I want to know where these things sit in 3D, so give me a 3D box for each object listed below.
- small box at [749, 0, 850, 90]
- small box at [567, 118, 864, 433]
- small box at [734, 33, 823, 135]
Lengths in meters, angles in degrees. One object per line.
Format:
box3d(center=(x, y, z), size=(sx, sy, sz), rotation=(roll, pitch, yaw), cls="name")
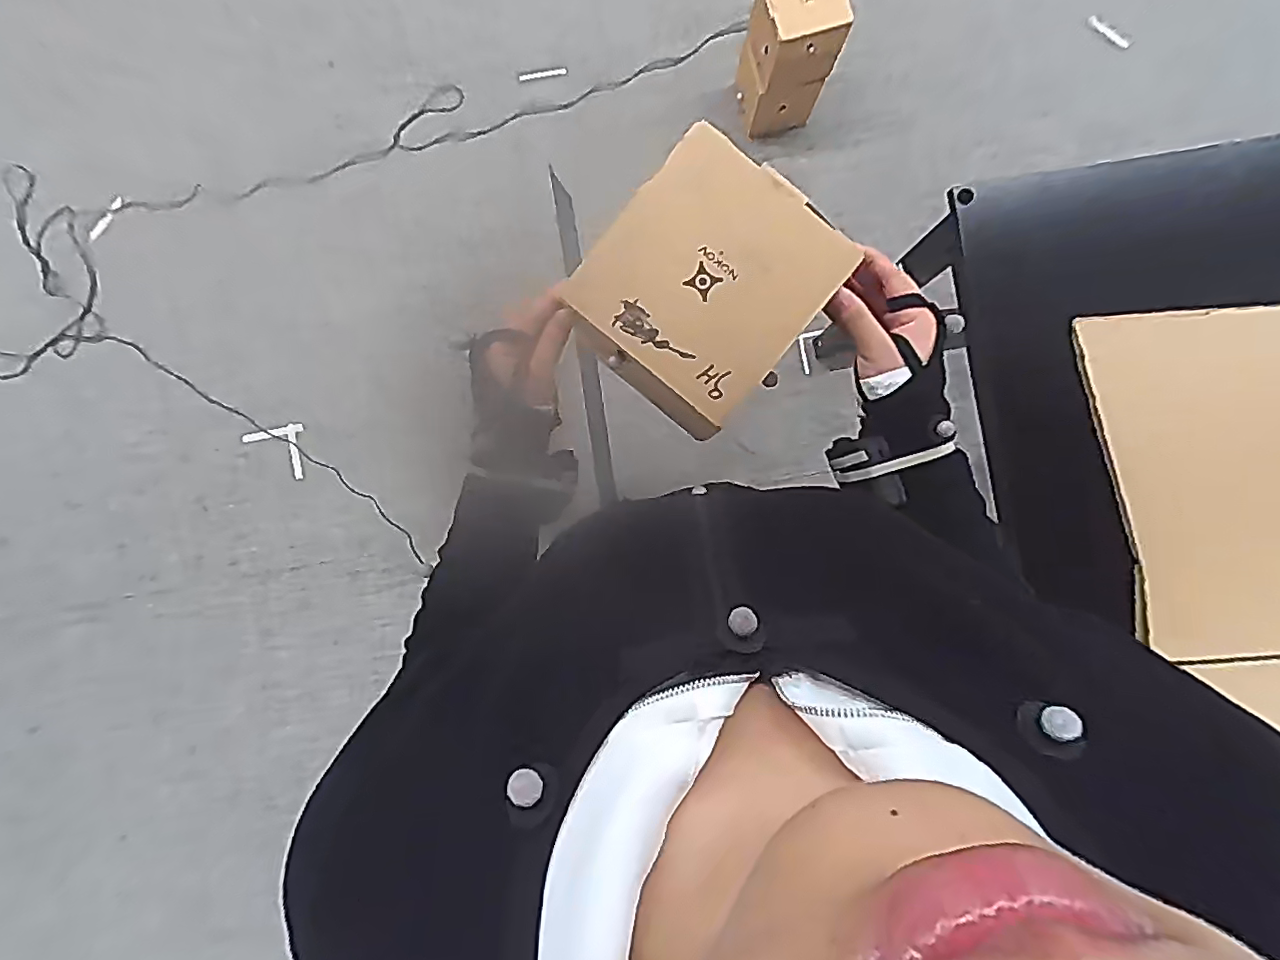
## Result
box3d(center=(0.371, -1.084, 1.297), size=(0.179, 0.176, 0.168), rotation=(-16, 89, -1), cls="small box")
box3d(center=(0.058, -0.163, 0.494), size=(0.168, 0.176, 0.179), rotation=(40, 90, 2), cls="small box")
box3d(center=(0.366, -1.077, 1.459), size=(0.179, 0.176, 0.168), rotation=(-13, 88, 1), cls="small box")
